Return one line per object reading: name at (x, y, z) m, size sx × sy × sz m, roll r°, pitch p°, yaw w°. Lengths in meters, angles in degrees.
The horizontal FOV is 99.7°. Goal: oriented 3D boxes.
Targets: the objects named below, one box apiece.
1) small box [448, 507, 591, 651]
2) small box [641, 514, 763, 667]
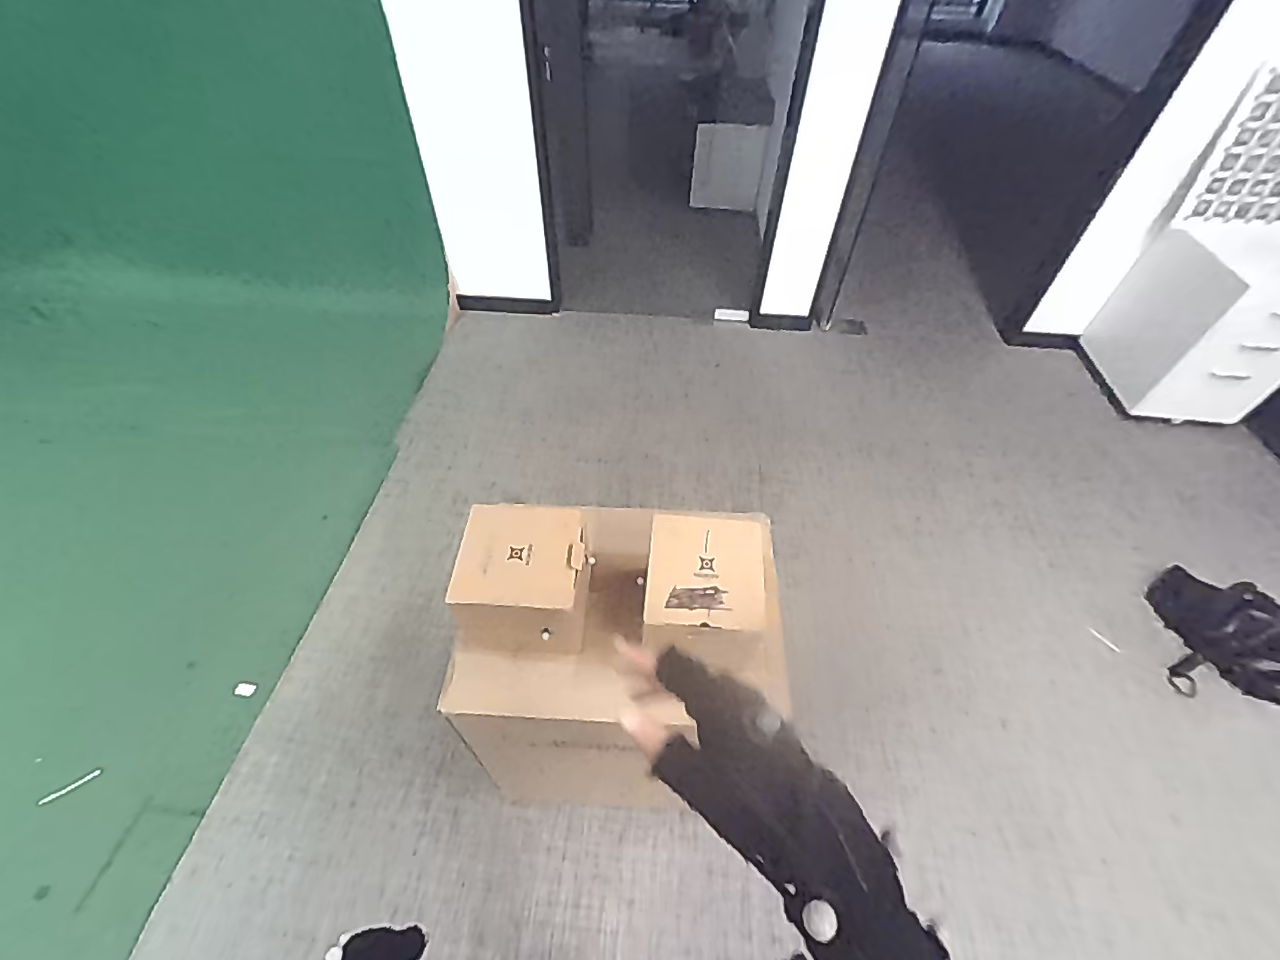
small box at (-0.173, 0.158, 0.846) m, size 0.179 × 0.176 × 0.168 m, roll 1°, pitch 51°, yaw 2°
small box at (0.092, 0.174, 0.834) m, size 0.168 × 0.176 × 0.179 m, roll 5°, pitch 53°, yaw 2°
